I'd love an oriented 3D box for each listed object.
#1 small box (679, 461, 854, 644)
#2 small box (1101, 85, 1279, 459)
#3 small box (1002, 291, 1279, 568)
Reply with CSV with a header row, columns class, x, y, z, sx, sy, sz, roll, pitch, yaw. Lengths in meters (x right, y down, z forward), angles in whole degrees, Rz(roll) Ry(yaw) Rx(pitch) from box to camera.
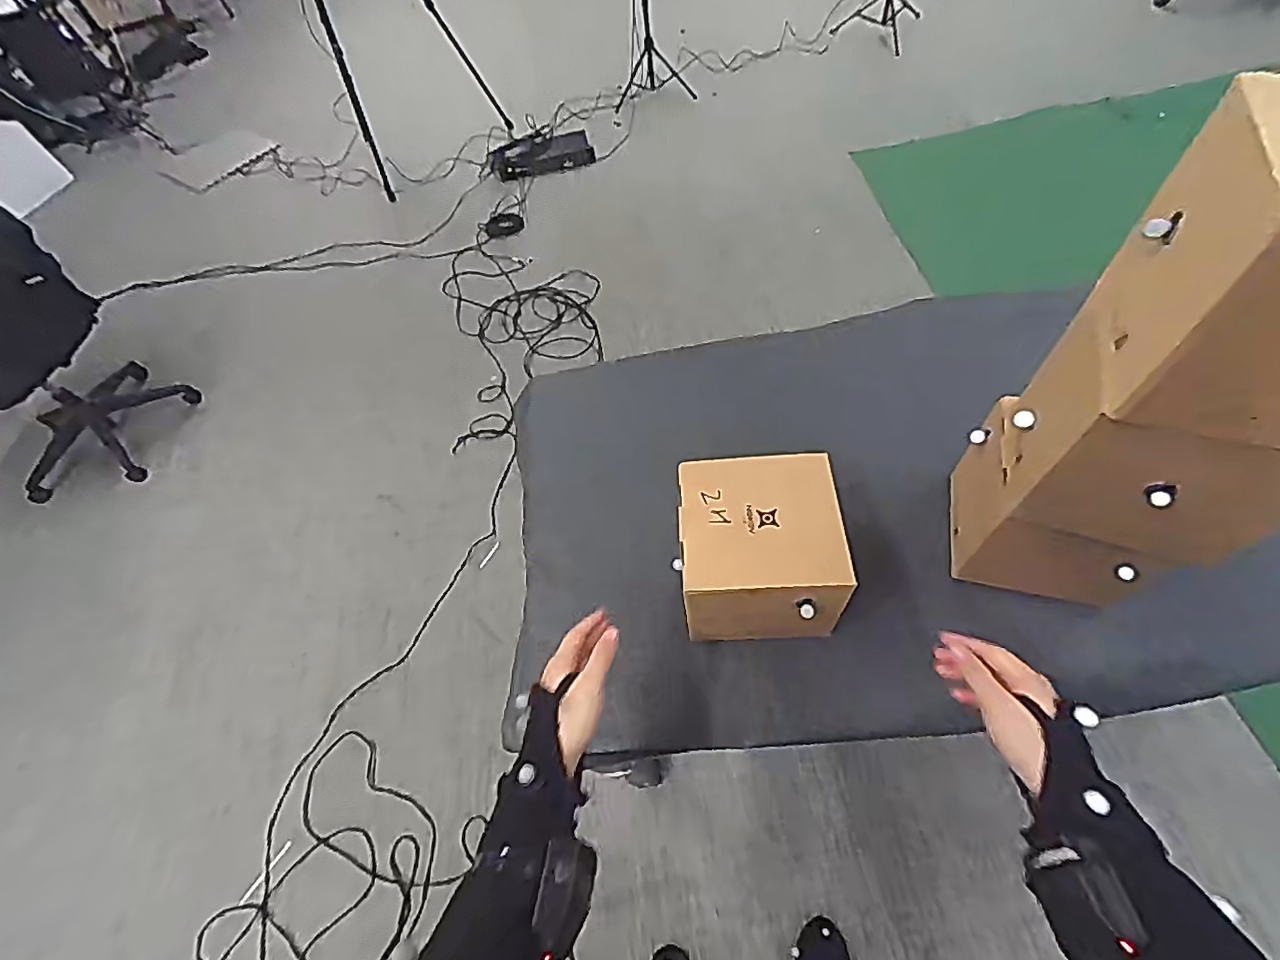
class,x,y,z,sx,sy,sz,roll,pitch,yaw
small box,0.139,0.094,0.655,0.179,0.176,0.168,-4,56,7
small box,0.445,-0.127,0.356,0.179,0.176,0.168,15,60,17
small box,0.469,-0.039,0.491,0.179,0.176,0.168,17,61,19
